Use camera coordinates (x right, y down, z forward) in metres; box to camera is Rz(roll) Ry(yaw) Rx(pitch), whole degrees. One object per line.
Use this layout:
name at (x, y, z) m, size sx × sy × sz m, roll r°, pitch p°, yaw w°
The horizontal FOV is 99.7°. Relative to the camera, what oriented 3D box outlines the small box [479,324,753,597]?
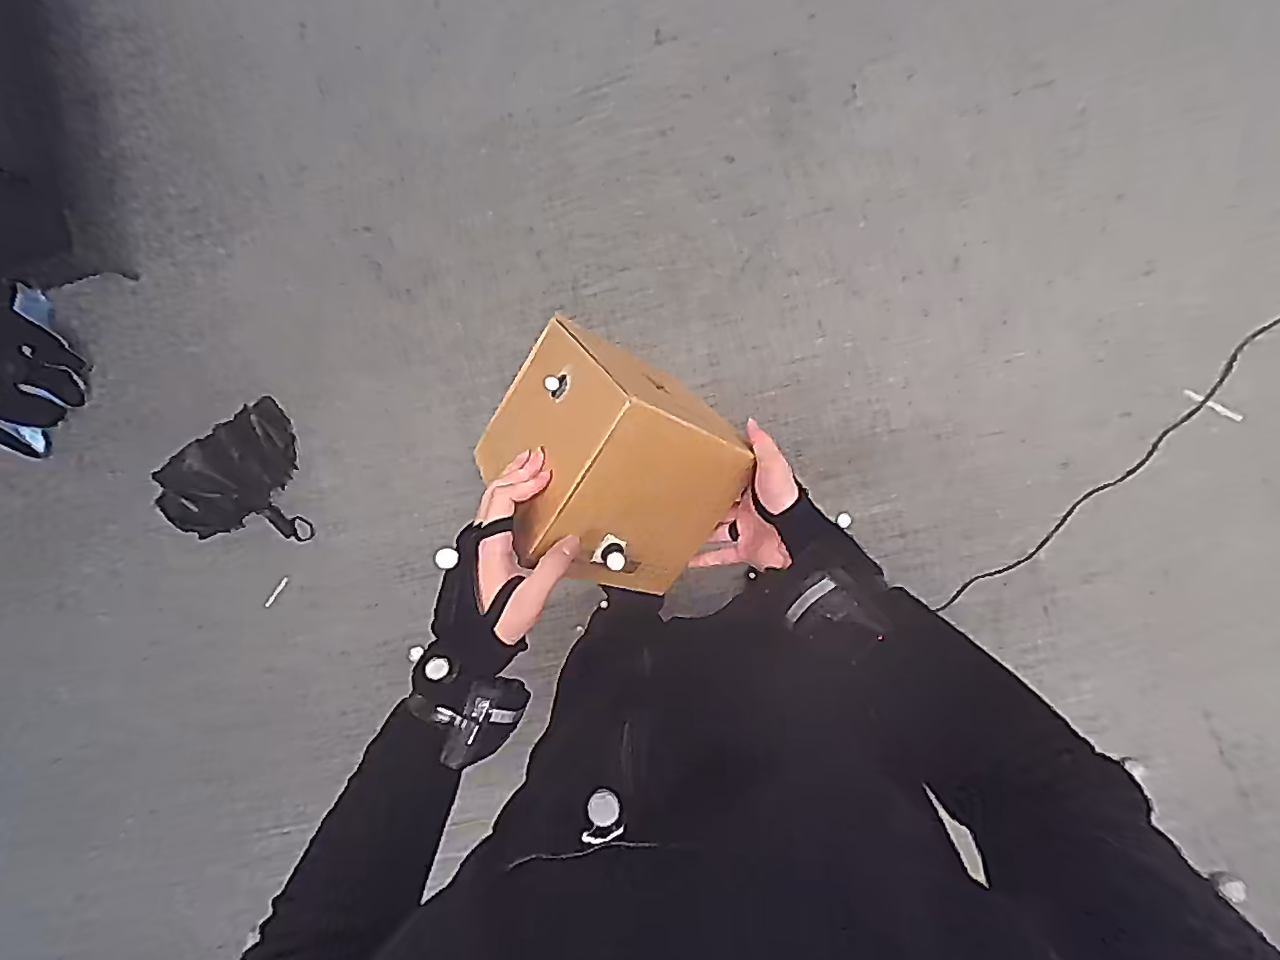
small box at (-0.035, -0.016, 0.522) m, size 0.176 × 0.168 × 0.179 m, roll -56°, pitch 42°, yaw 18°
